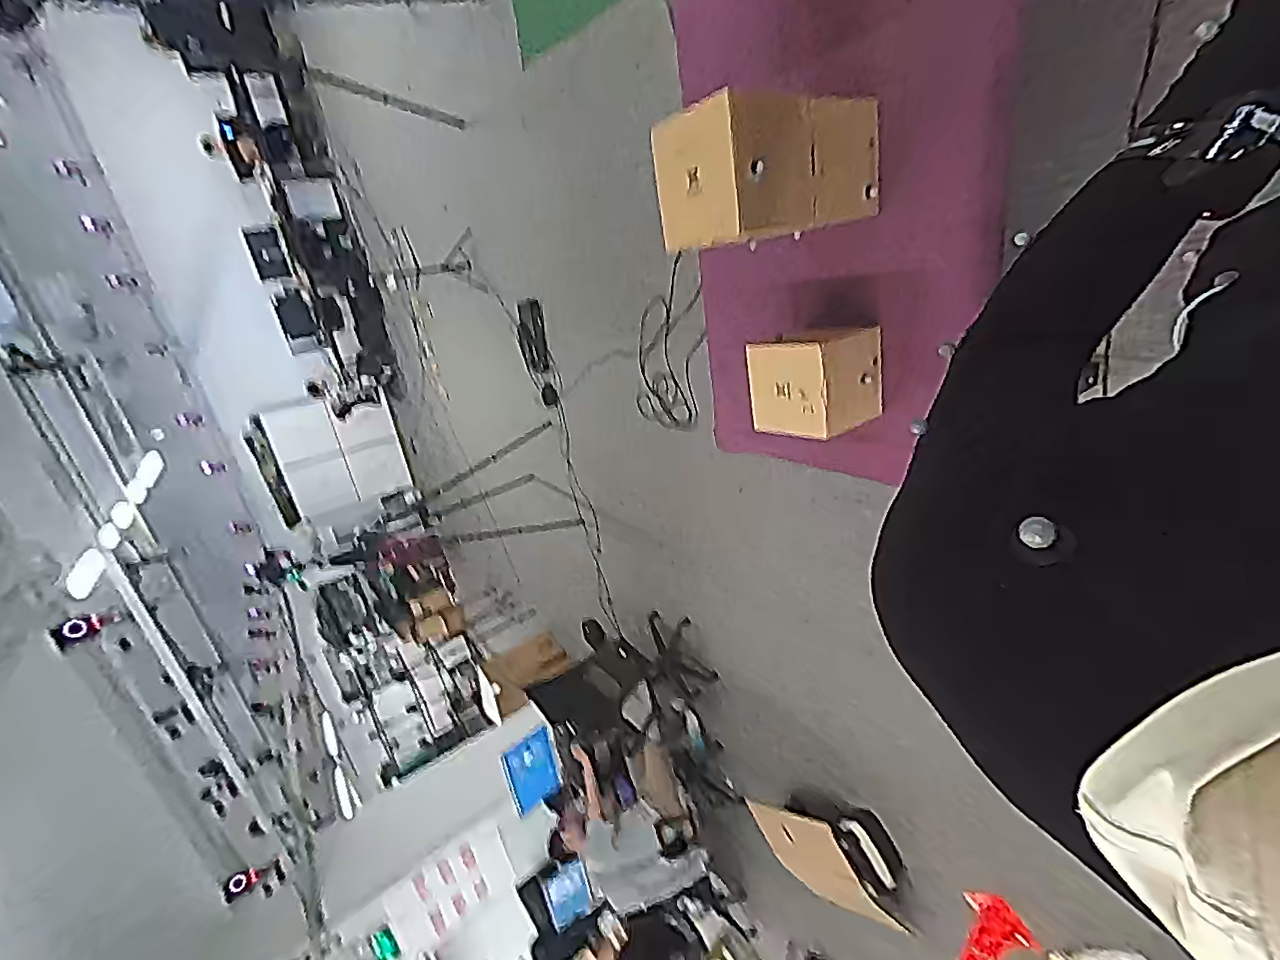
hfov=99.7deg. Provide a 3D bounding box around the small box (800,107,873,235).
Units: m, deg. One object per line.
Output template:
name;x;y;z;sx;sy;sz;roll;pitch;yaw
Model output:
small box;0.269;-0.501;0.901;0.179;0.176;0.168;18;124;53

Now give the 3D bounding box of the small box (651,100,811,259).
small box;0.141;-0.446;0.816;0.168;0.176;0.179;17;123;51

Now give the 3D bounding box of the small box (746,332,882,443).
small box;0.327;-0.179;1.016;0.179;0.176;0.168;16;123;53
